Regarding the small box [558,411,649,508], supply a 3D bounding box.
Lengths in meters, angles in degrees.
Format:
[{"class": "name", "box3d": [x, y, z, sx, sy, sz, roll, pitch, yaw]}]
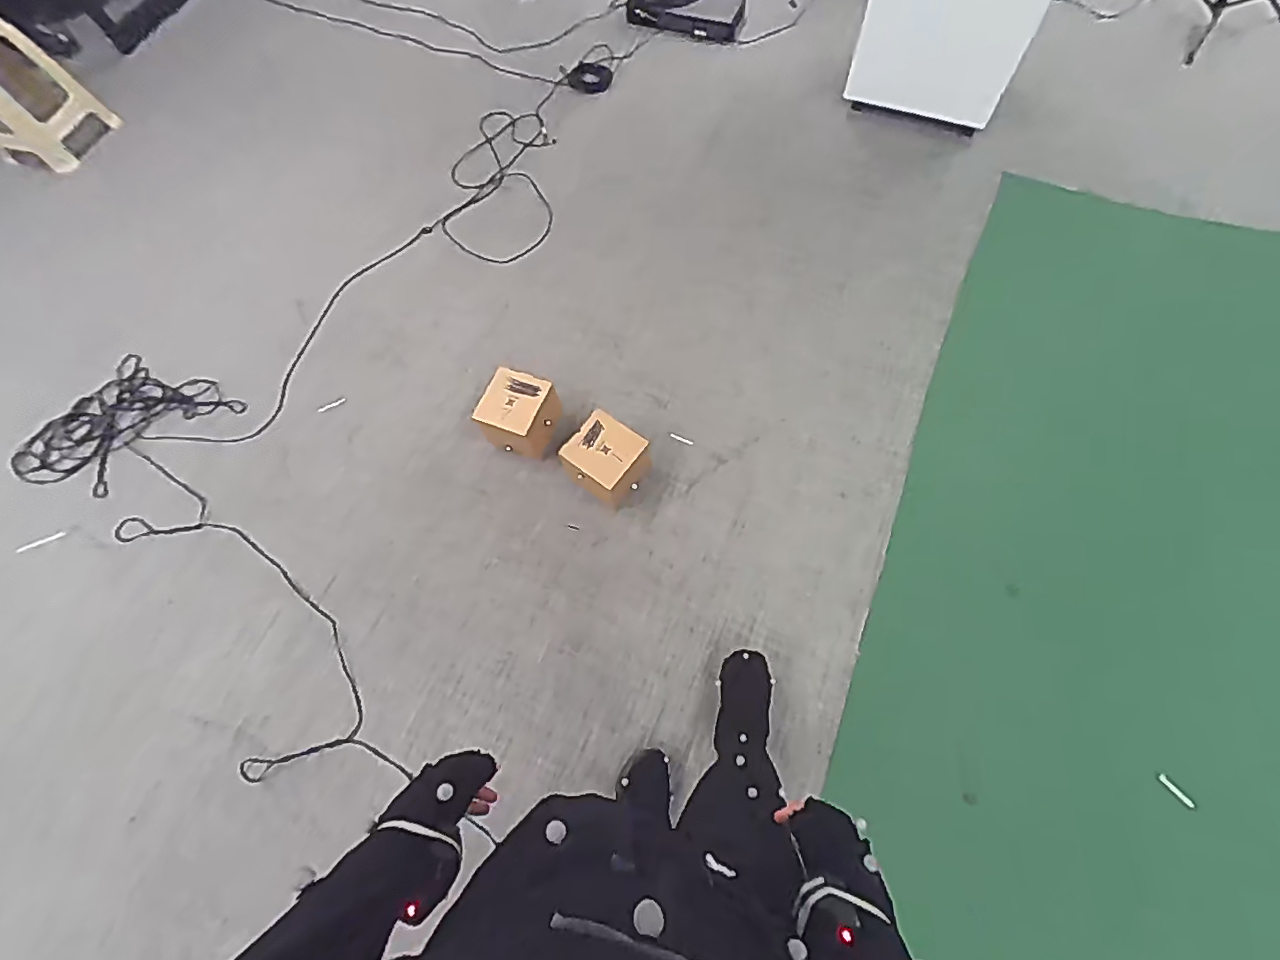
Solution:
[{"class": "small box", "box3d": [-0.092, -0.049, 1.463, 0.179, 0.176, 0.168, 35, 74, 15]}]
